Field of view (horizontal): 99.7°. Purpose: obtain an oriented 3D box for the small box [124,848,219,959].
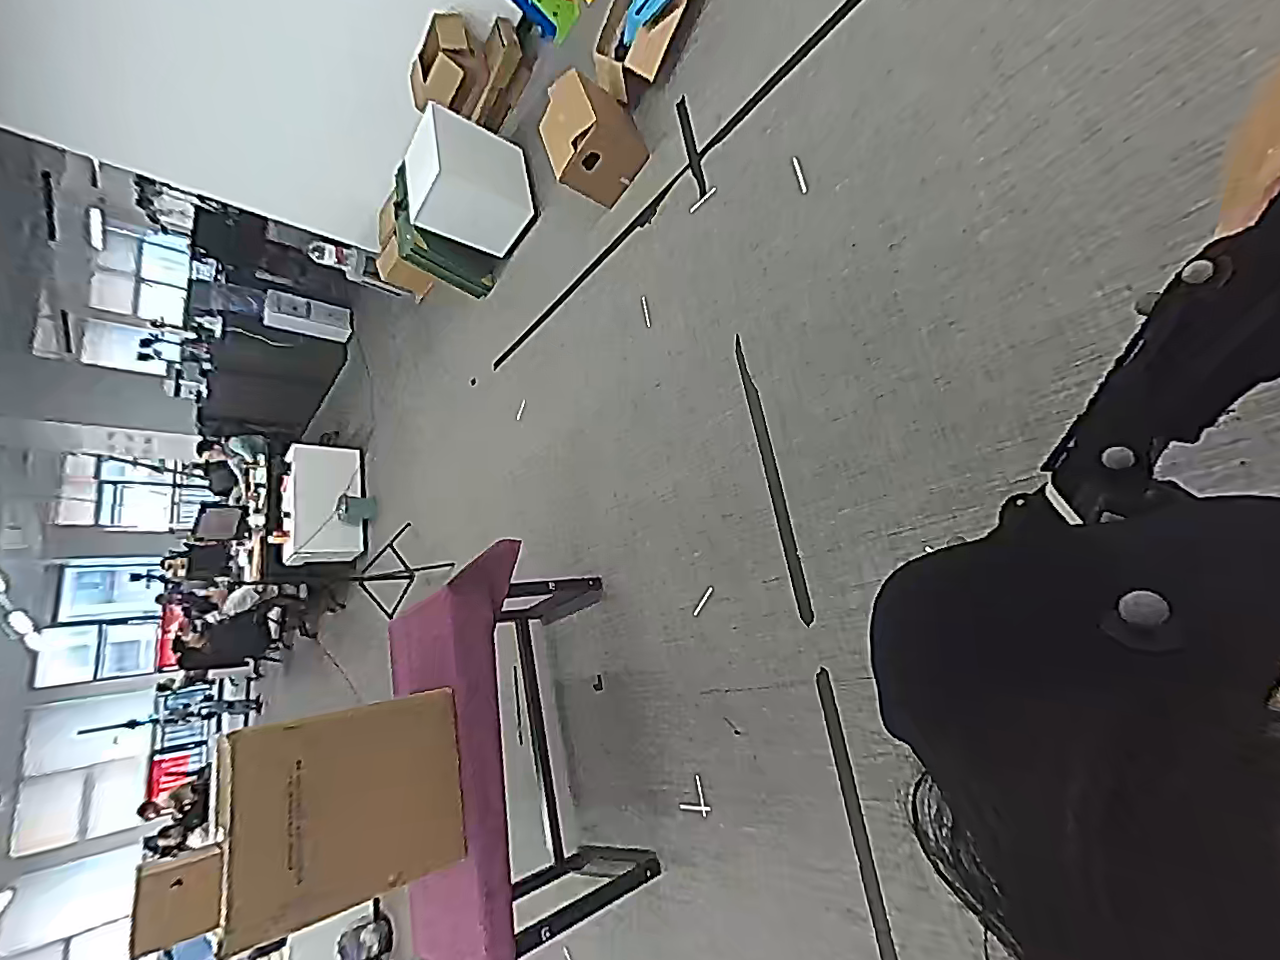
[{"bbox_3d":[-1.185,1.068,1.374,0.168,0.176,0.179,-26,67,44],"label":"small box"}]
